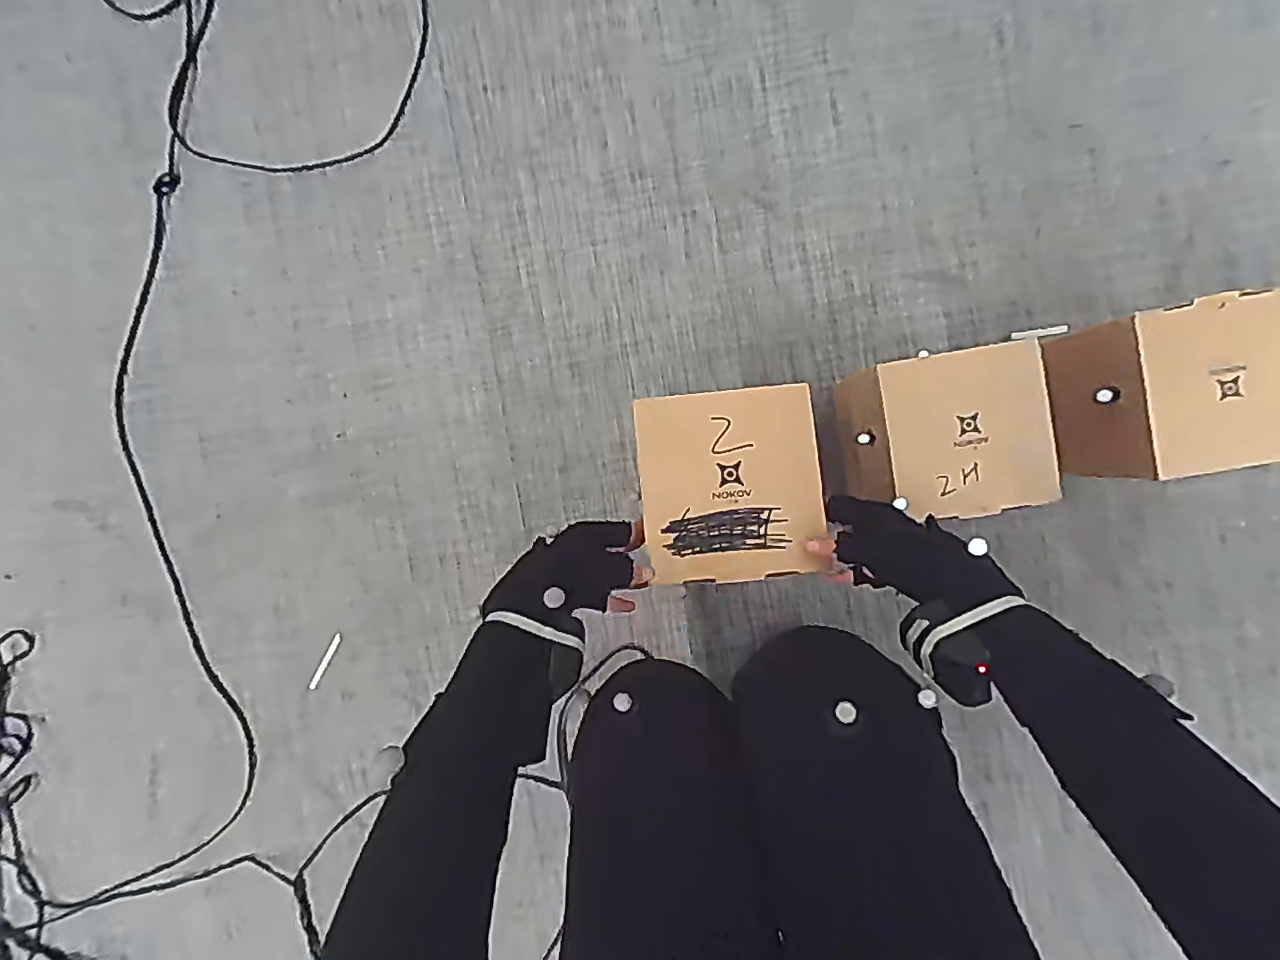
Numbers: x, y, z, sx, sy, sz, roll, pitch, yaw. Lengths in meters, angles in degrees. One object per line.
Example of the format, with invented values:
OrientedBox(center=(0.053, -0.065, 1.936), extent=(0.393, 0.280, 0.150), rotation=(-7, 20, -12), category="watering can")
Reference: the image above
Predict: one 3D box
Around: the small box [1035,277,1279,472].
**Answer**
OrientedBox(center=(0.597, -0.110, 0.631), extent=(0.168, 0.176, 0.179), rotation=(-11, 91, 4), category="small box")

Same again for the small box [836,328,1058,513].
OrientedBox(center=(0.347, -0.062, 0.647), extent=(0.168, 0.176, 0.179), rotation=(-10, 91, 6), category="small box")
